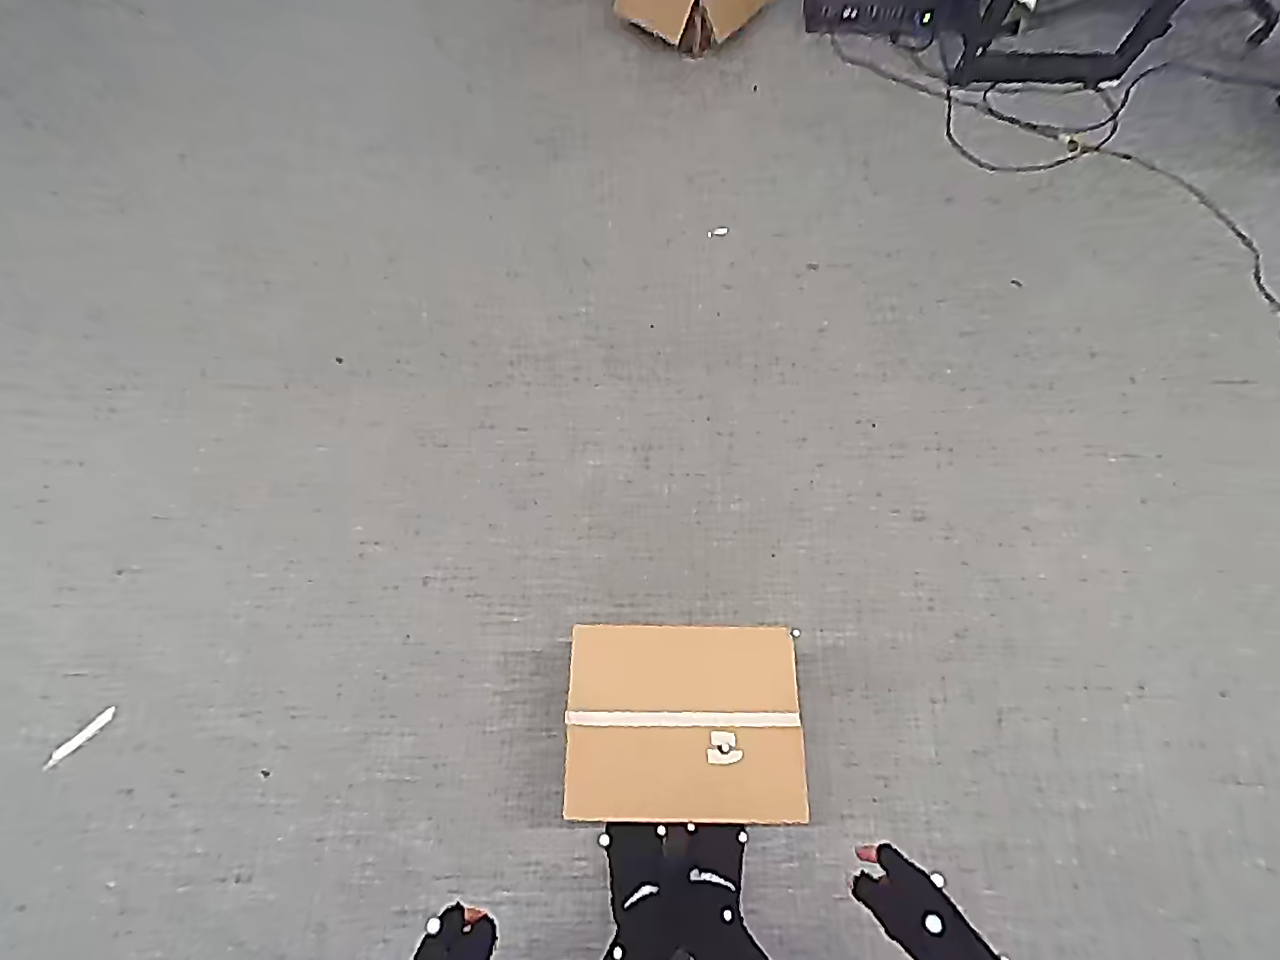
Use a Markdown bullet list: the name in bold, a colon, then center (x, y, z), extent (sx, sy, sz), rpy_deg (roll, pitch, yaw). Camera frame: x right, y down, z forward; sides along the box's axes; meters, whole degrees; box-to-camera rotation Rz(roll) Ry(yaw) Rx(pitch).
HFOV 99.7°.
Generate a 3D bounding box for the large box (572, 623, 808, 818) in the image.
- **large box**: center (0.078, 0.466, 1.086), extent (0.408, 0.320, 0.320), rpy_deg (0, 70, -1)
